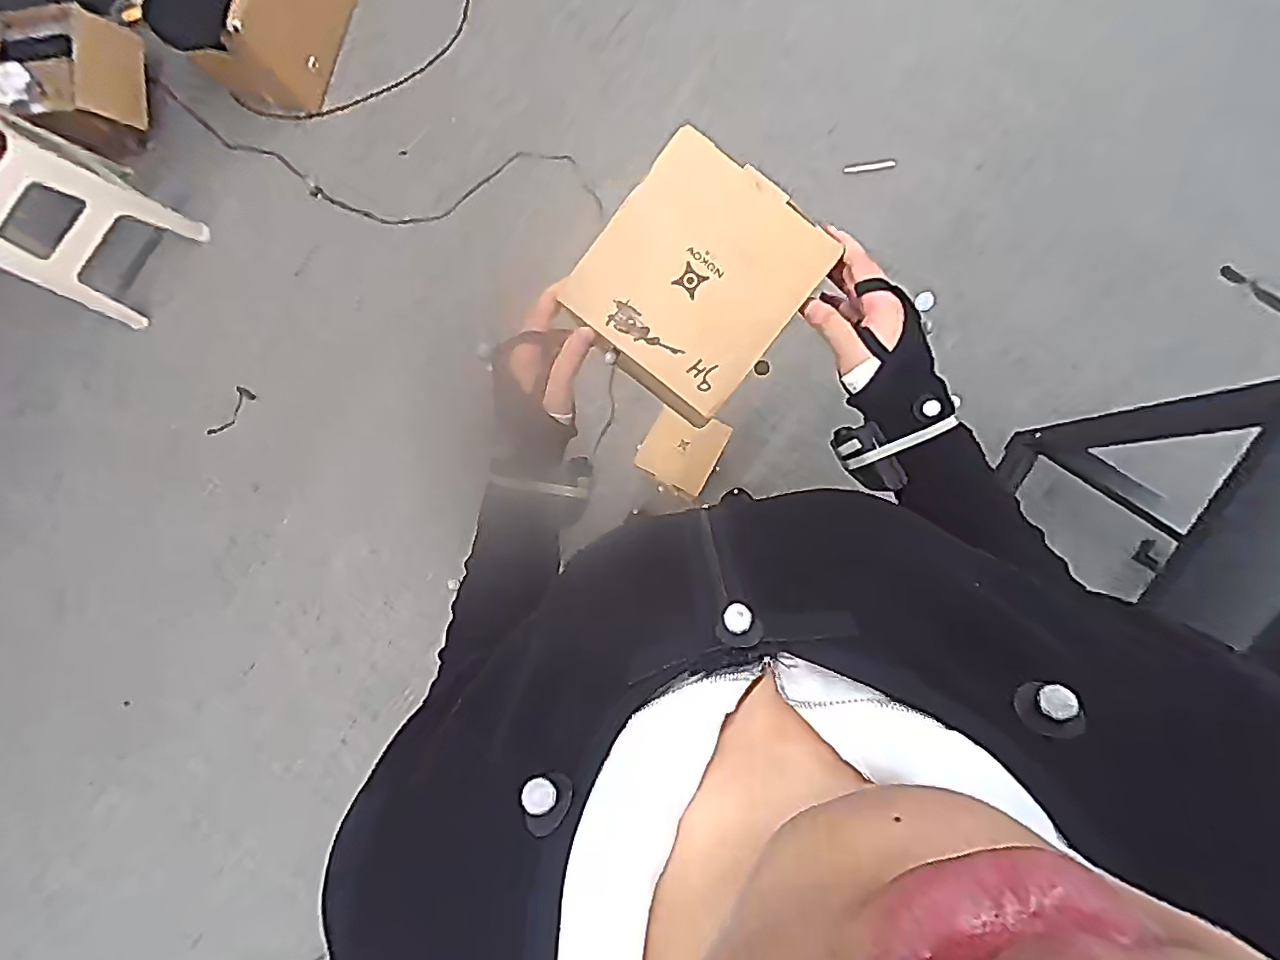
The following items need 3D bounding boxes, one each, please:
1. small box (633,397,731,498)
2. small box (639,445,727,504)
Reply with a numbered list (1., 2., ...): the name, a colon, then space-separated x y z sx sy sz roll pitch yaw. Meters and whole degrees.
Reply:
1. small box: 0.100 -0.067 1.279 0.168 0.176 0.179 27 88 5
2. small box: 0.112 -0.052 1.440 0.168 0.176 0.179 31 91 6
